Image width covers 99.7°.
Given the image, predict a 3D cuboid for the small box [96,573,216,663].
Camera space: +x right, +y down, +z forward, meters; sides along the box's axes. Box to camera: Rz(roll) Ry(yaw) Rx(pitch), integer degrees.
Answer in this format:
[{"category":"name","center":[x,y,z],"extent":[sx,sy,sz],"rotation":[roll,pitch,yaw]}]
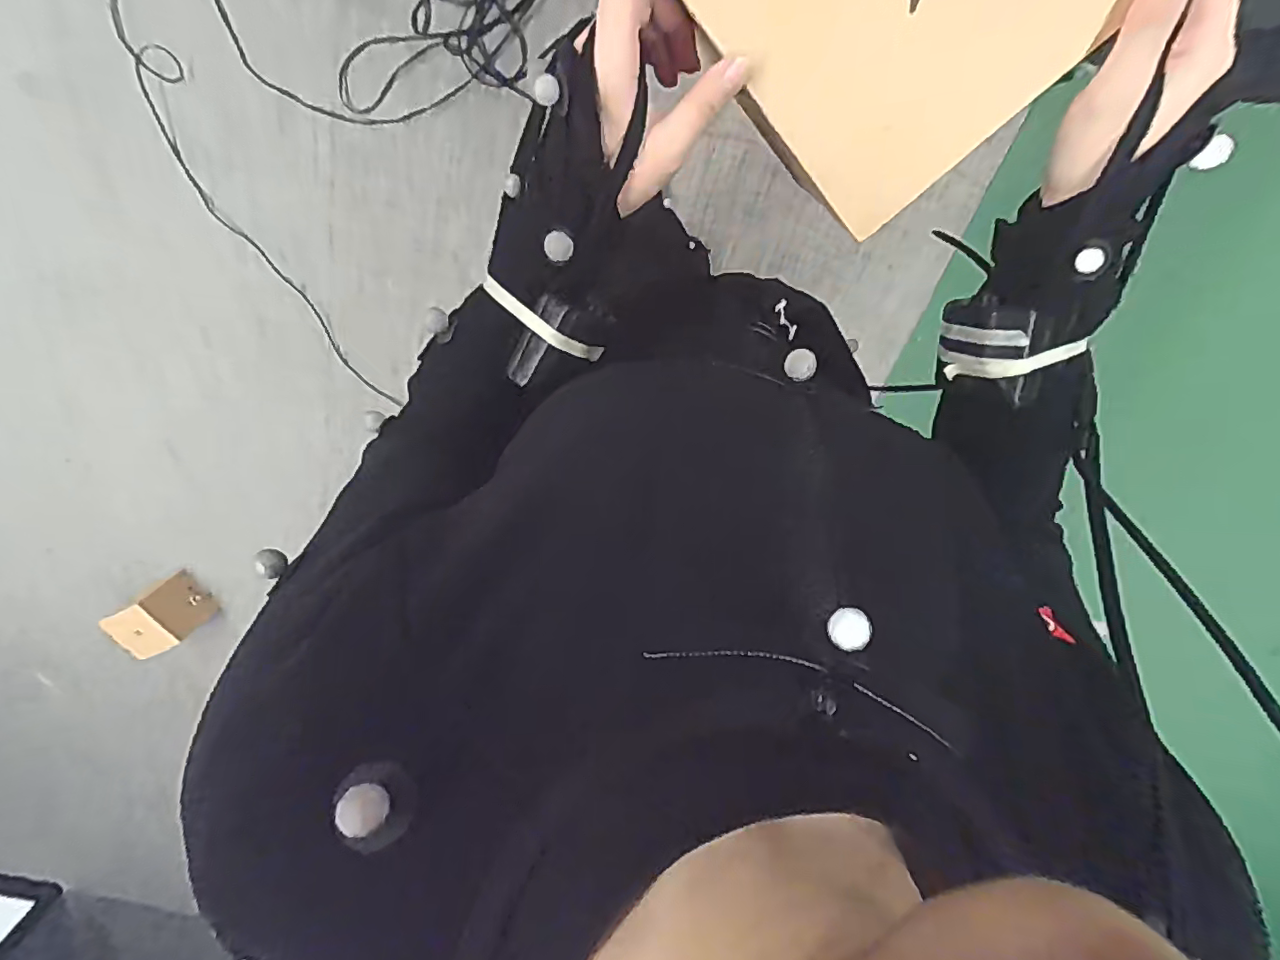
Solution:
[{"category":"small box","center":[-1.455,0.414,1.639],"extent":[0.179,0.176,0.168],"rotation":[-24,114,13]}]
